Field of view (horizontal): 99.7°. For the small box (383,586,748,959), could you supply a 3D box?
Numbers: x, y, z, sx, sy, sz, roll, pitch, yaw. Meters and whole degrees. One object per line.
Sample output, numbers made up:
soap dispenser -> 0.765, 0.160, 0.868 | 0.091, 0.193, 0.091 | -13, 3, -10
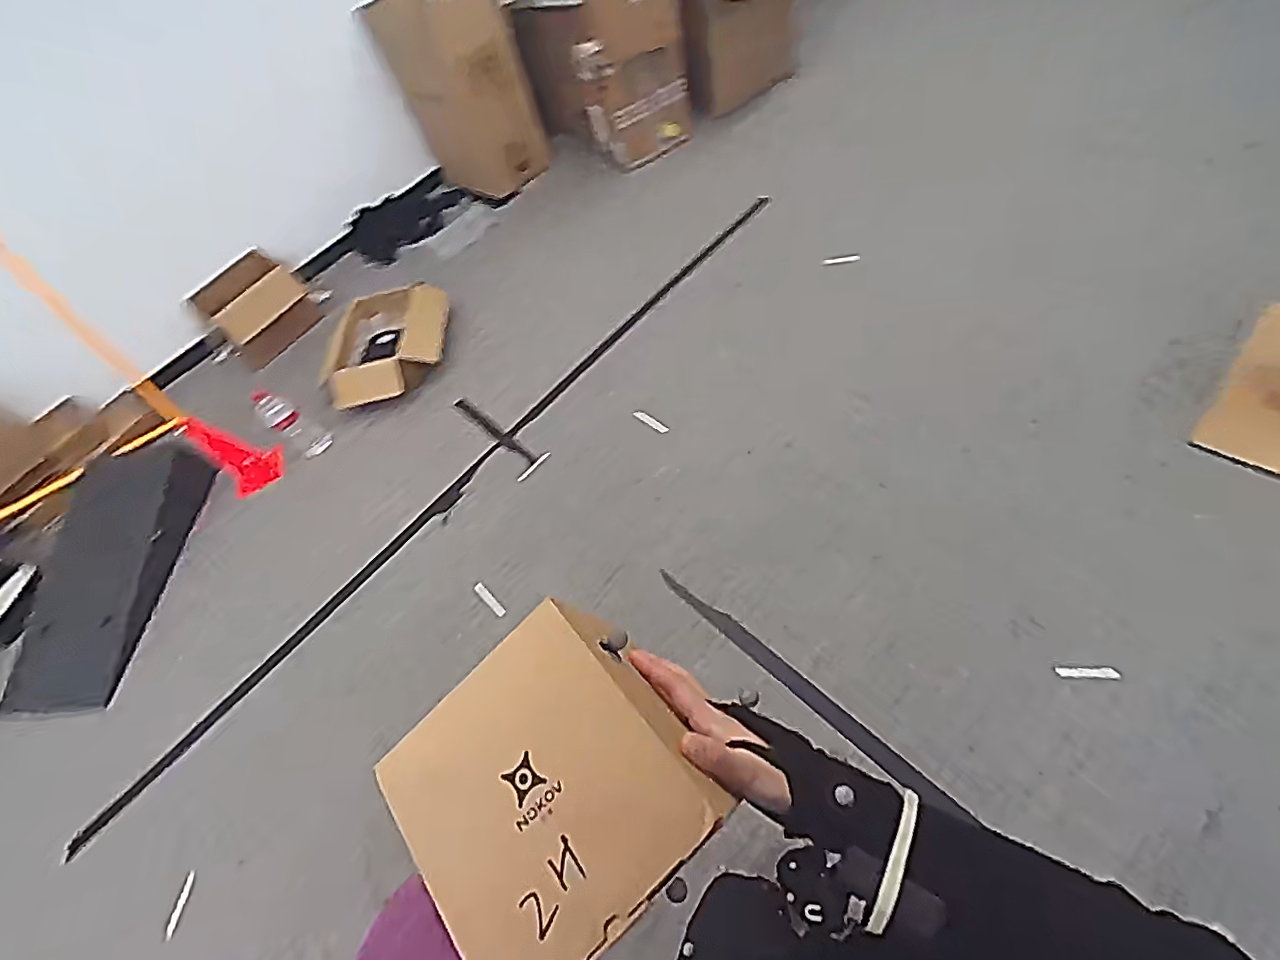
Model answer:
small box -> -0.042, 0.211, 0.403 | 0.168, 0.176, 0.179 | -43, 62, -2
